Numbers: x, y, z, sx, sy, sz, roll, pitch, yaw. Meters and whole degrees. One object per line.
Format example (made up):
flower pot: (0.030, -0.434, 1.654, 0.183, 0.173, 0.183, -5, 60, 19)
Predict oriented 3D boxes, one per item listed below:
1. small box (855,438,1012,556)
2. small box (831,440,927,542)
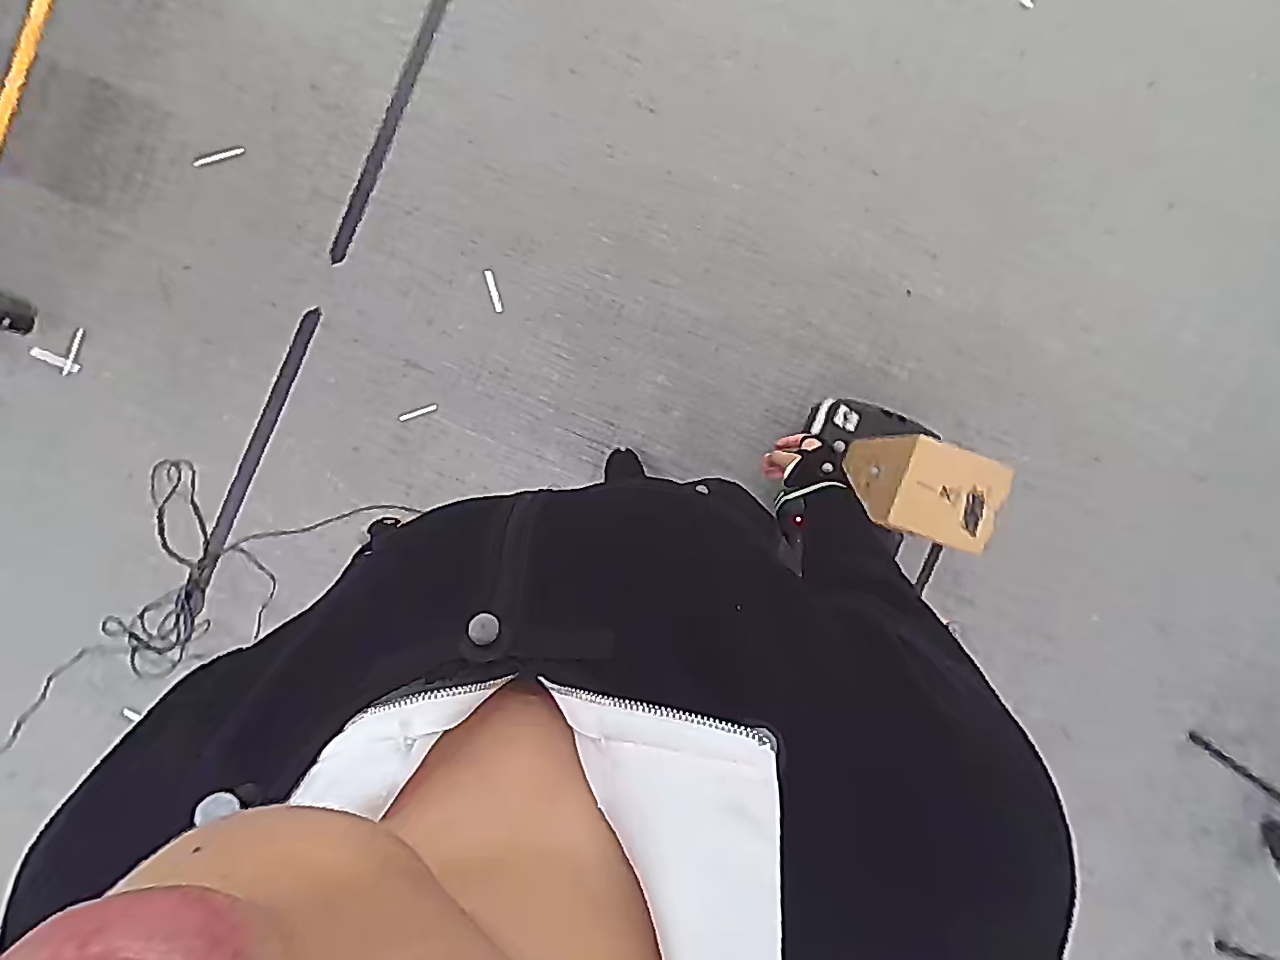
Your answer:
small box: (0.544, 0.025, 1.027, 0.179, 0.176, 0.168, 21, 93, 2)
small box: (0.545, 0.019, 1.191, 0.179, 0.176, 0.168, 22, 93, 1)
